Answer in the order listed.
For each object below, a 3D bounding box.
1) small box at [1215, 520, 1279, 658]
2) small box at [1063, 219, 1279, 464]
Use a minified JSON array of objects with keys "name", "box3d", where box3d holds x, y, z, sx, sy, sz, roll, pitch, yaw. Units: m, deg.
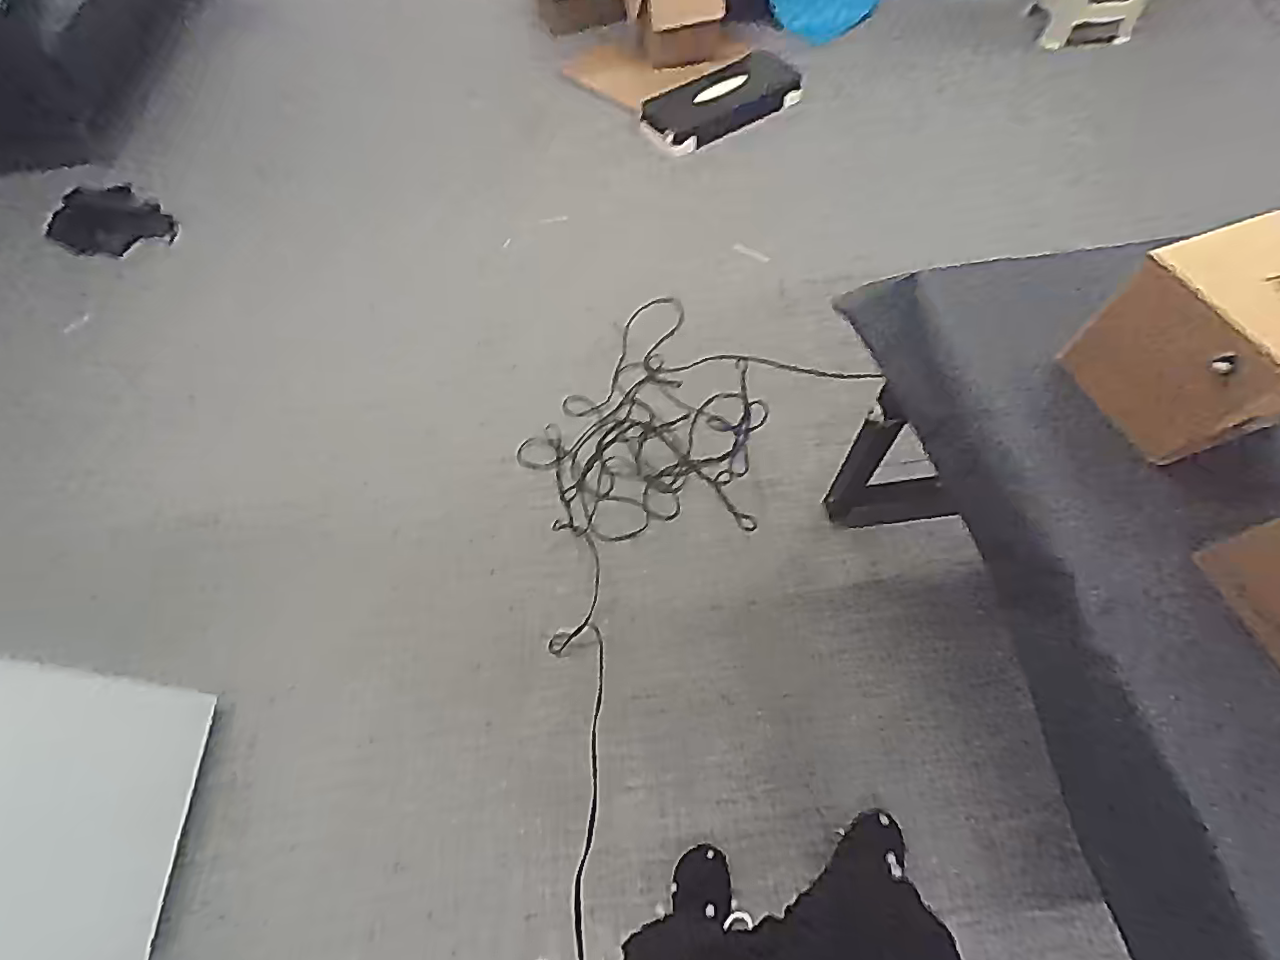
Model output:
[{"name":"small box","box3d":[0.677,0.089,0.467,0.179,0.176,0.168,-16,63,-6]},{"name":"small box","box3d":[0.634,-0.146,0.598,0.168,0.176,0.179,-18,63,-6]}]
